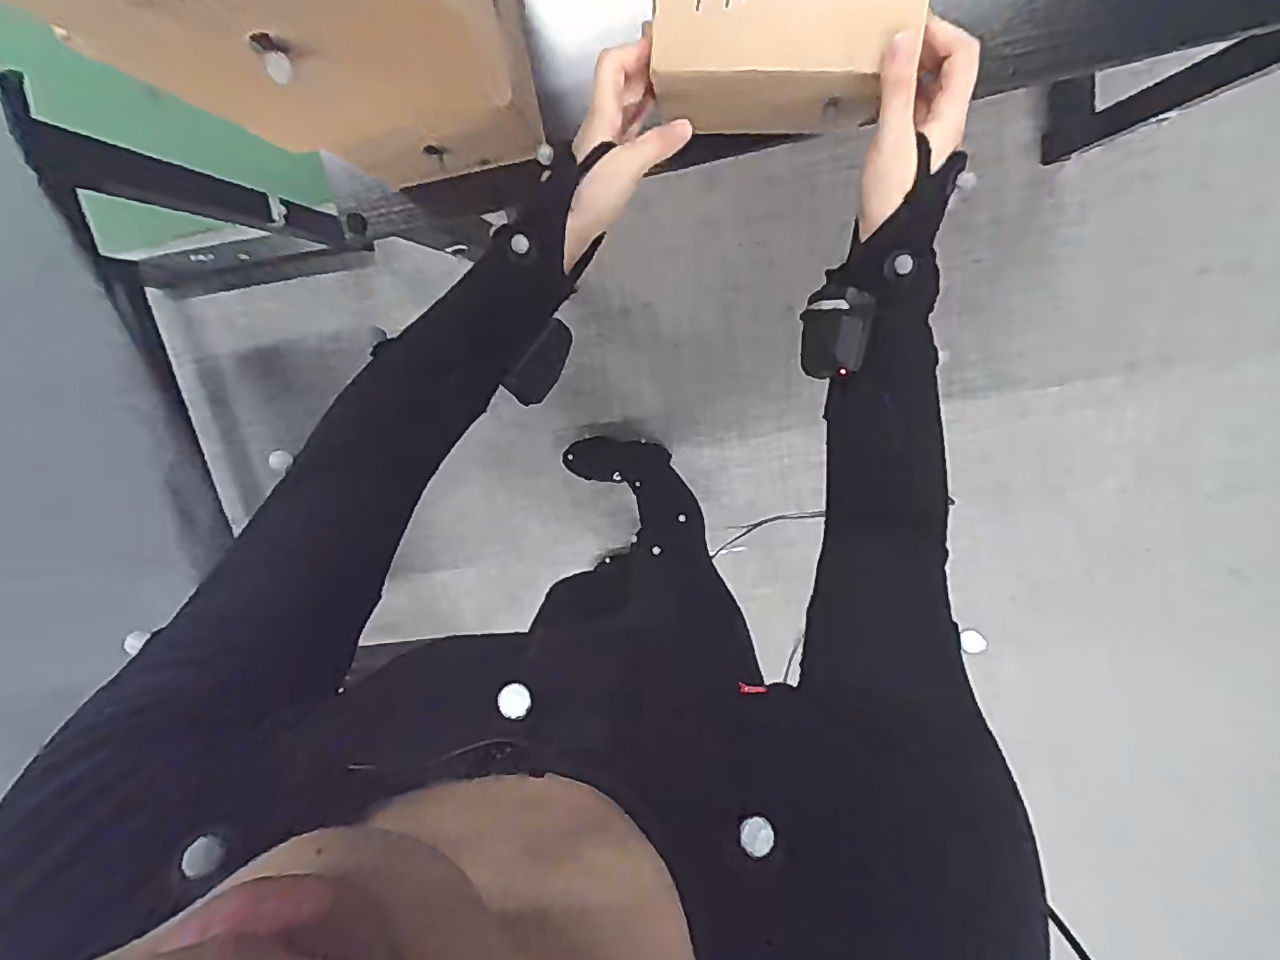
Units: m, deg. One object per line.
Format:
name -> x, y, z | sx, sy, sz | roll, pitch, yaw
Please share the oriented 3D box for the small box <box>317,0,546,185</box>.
small box -> -0.188, -0.368, 0.453 | 0.168, 0.176, 0.179 | -9, 104, 5
